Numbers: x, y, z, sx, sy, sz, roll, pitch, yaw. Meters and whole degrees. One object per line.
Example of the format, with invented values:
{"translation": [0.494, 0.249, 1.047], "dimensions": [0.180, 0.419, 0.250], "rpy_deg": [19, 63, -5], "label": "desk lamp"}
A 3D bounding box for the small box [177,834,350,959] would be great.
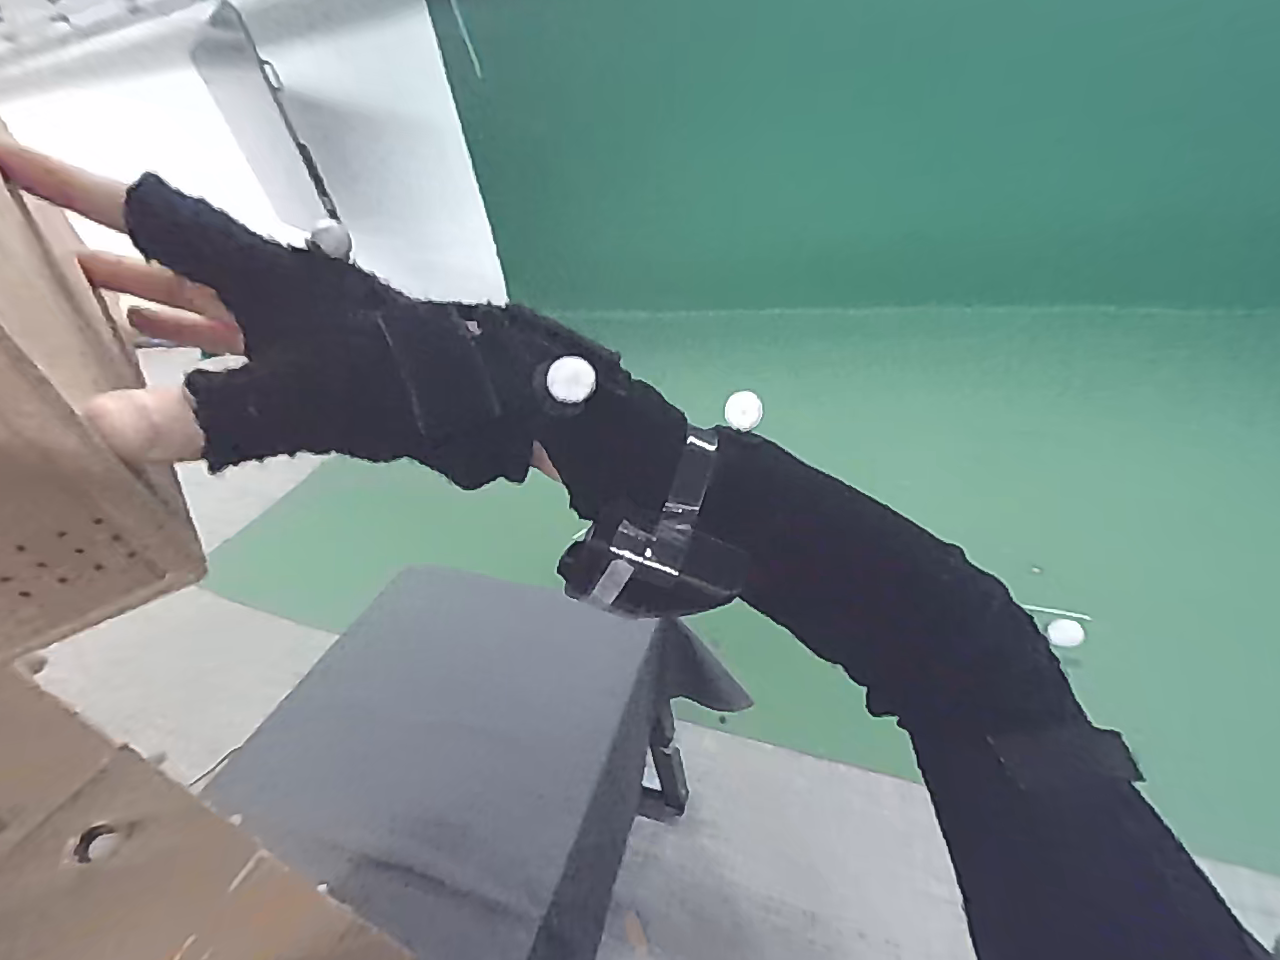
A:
{"translation": [-0.406, 0.416, 0.474], "dimensions": [0.179, 0.176, 0.168], "rpy_deg": [5, 39, 21], "label": "small box"}

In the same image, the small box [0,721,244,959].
{"translation": [-0.428, 0.285, 0.378], "dimensions": [0.168, 0.176, 0.179], "rpy_deg": [6, 39, 22], "label": "small box"}

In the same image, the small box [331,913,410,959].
{"translation": [-0.383, 0.546, 0.569], "dimensions": [0.179, 0.176, 0.168], "rpy_deg": [4, 38, 21], "label": "small box"}
